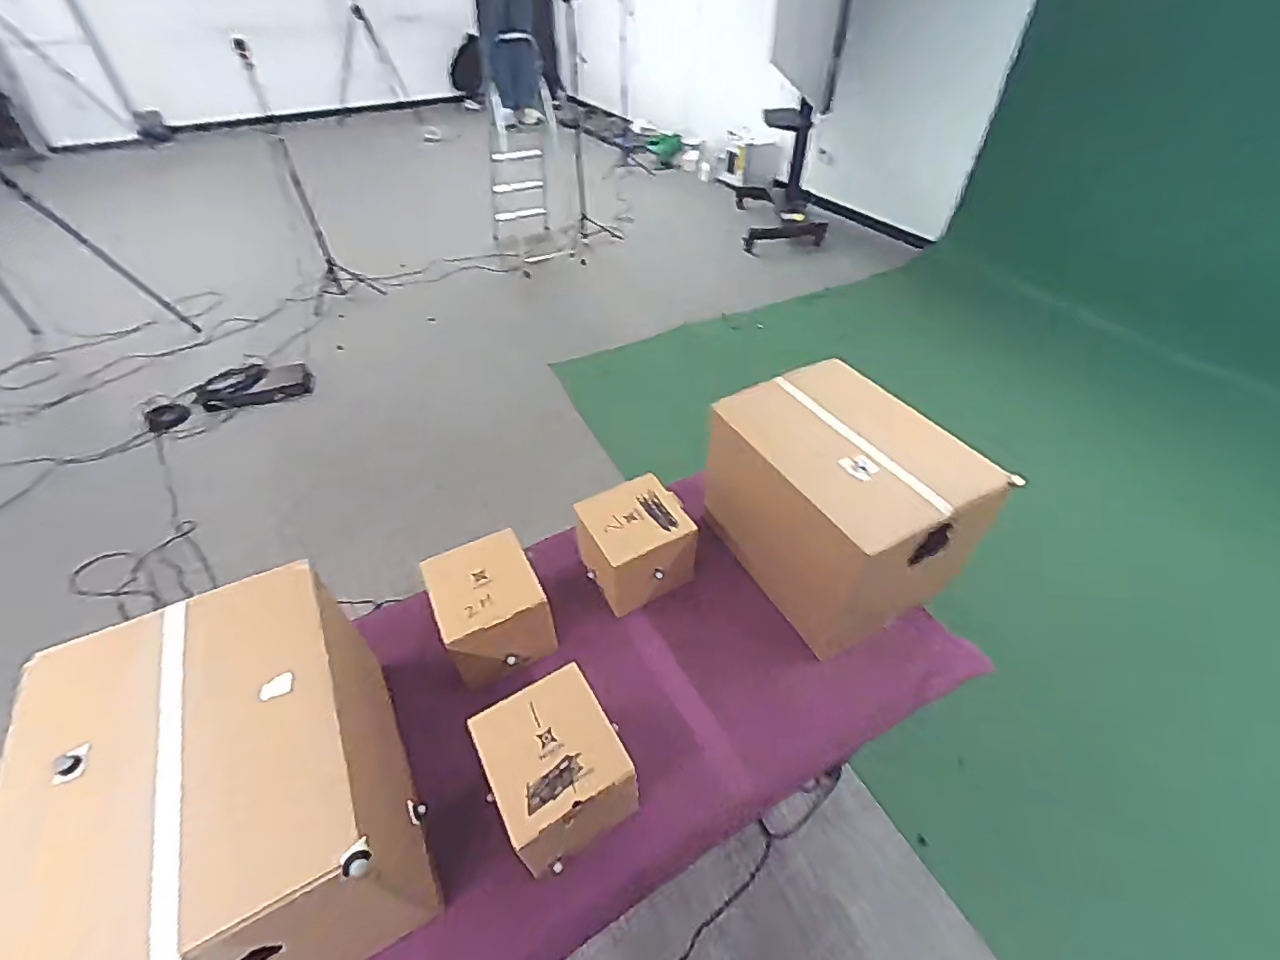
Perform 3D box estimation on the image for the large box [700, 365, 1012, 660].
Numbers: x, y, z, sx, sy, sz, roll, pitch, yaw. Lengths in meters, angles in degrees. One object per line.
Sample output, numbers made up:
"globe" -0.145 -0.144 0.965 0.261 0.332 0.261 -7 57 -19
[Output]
"large box" 0.356 0.045 1.021 0.320 0.320 0.408 -22 49 -19
